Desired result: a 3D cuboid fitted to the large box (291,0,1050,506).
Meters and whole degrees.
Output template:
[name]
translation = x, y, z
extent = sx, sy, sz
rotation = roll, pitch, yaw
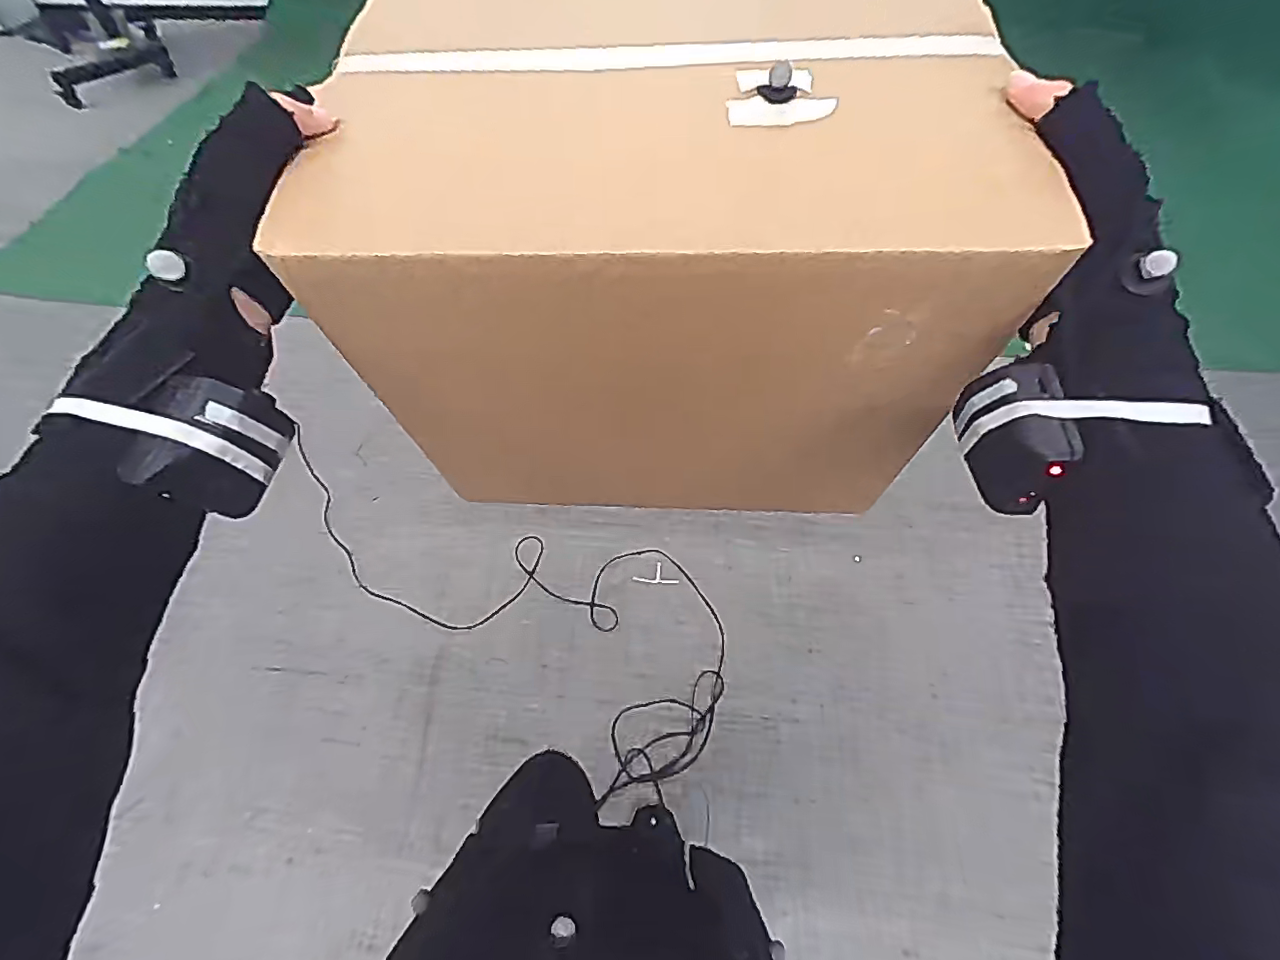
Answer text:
[large box]
translation = 0.018, -0.176, 0.478
extent = 0.408, 0.320, 0.320
rotation = 1, 64, 3
